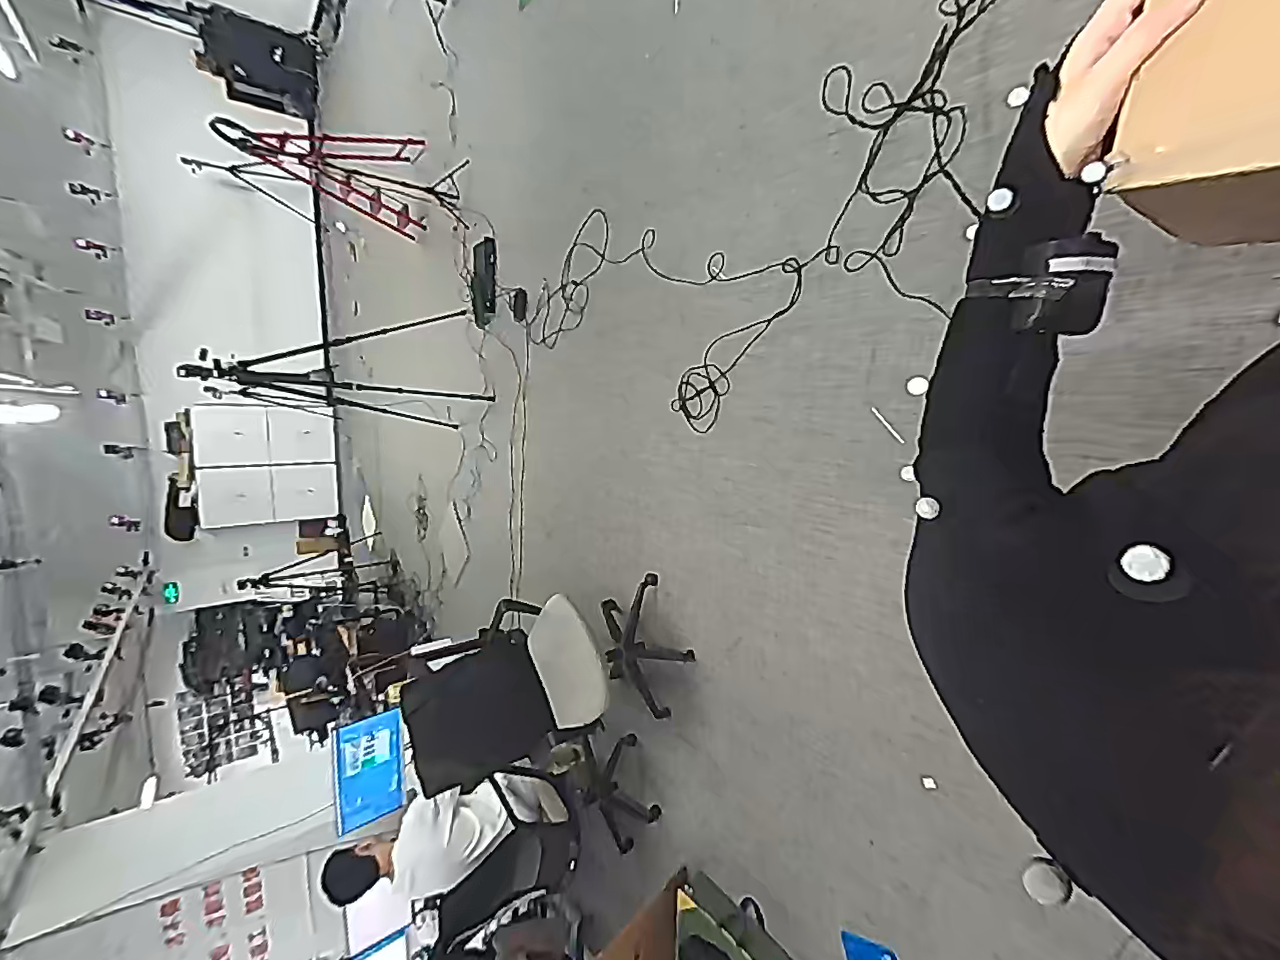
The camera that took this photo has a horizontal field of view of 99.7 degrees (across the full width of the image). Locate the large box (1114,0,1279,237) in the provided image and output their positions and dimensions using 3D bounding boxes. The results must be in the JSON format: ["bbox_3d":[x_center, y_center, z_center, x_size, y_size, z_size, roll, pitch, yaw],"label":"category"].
[{"bbox_3d":[0.564,-0.324,0.265,0.408,0.320,0.320,20,114,51],"label":"large box"}]
